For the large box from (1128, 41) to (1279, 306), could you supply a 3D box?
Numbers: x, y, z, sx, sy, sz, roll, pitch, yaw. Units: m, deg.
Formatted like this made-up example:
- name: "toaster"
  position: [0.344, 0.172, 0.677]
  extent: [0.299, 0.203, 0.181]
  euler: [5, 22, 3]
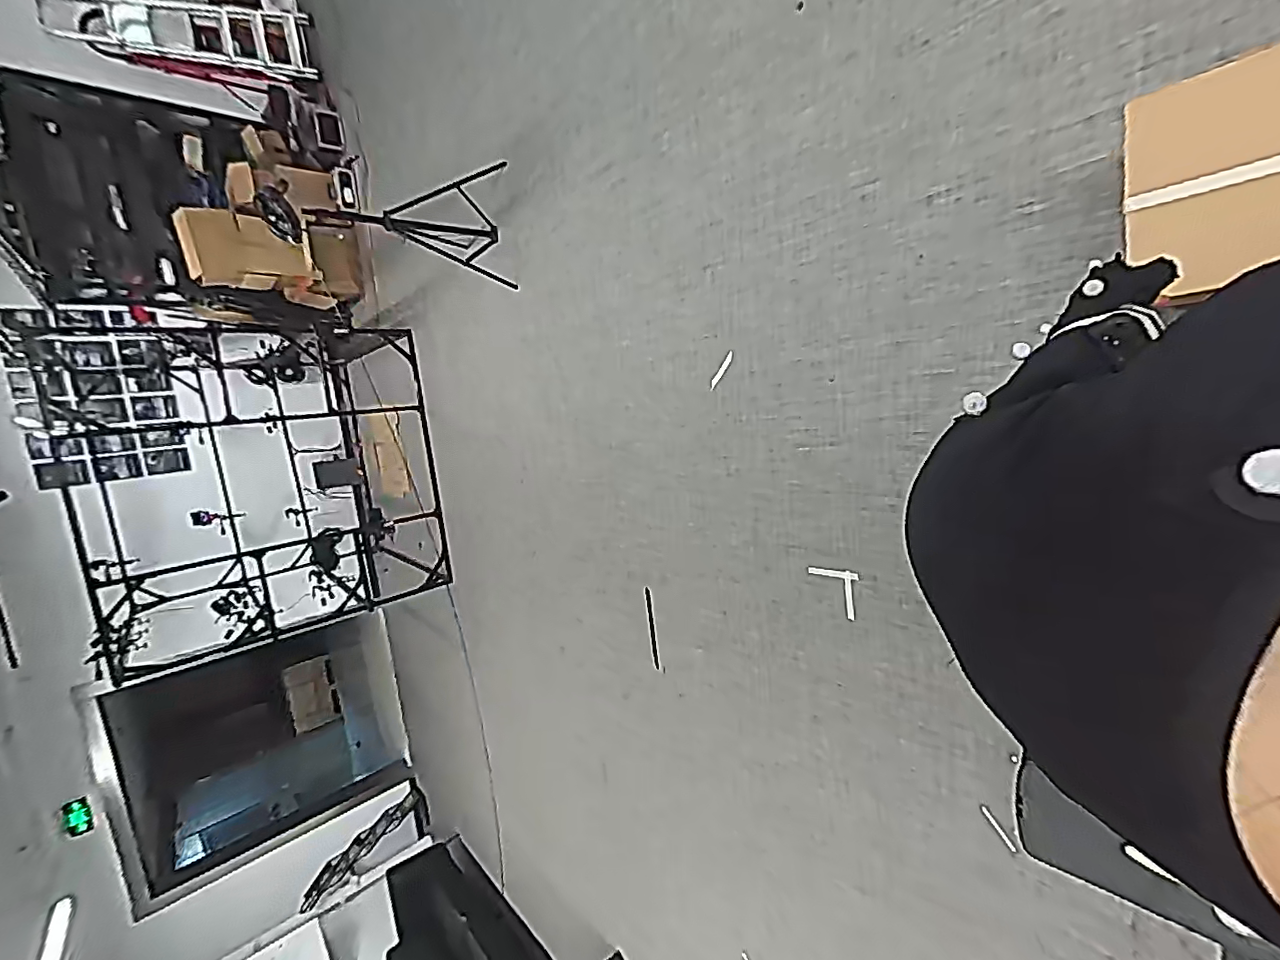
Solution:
- name: "large box"
  position: [1.029, -0.472, 0.817]
  extent: [0.408, 0.320, 0.320]
  euler: [1, 101, 49]
